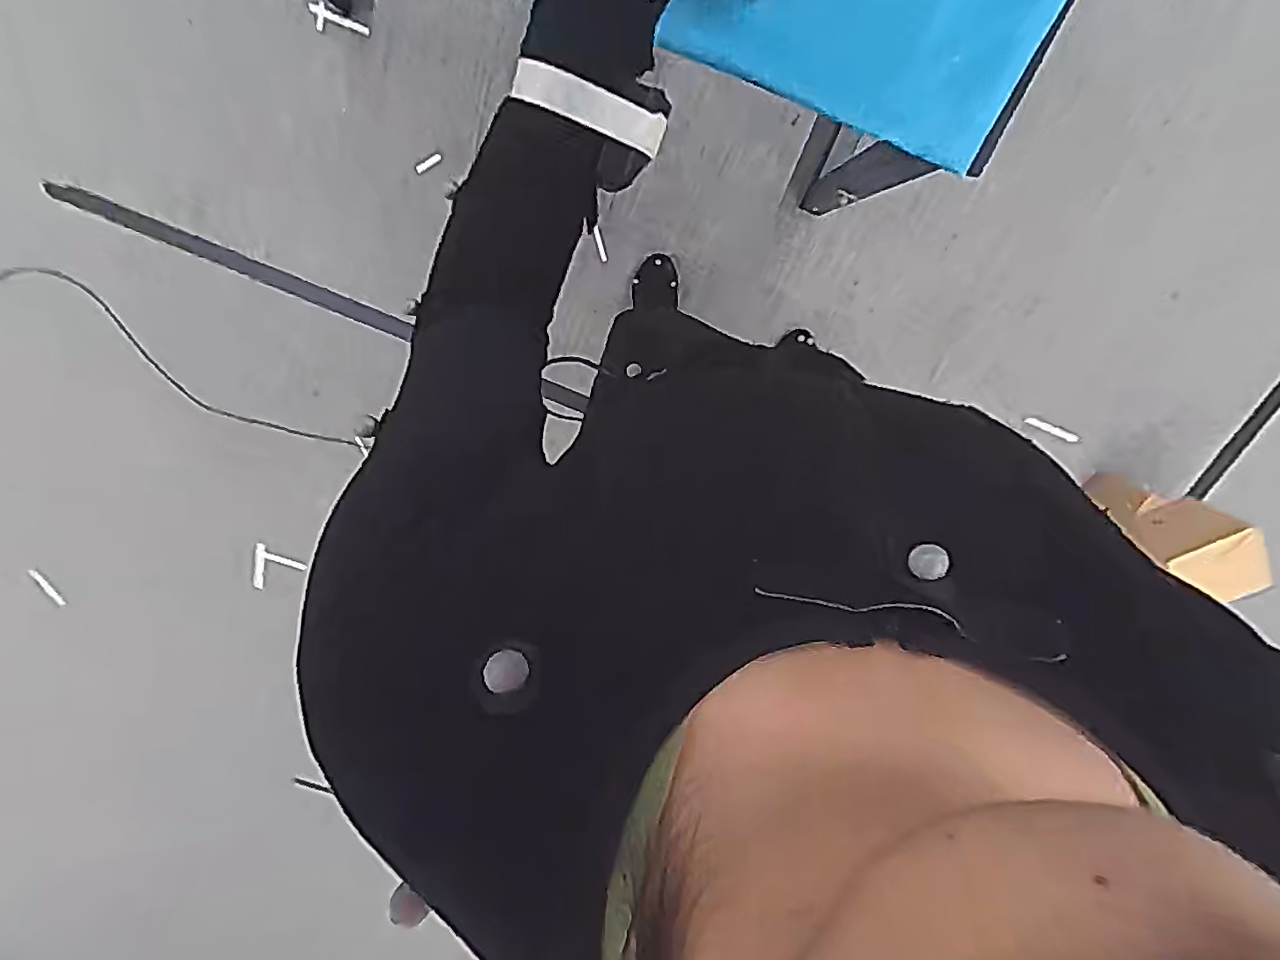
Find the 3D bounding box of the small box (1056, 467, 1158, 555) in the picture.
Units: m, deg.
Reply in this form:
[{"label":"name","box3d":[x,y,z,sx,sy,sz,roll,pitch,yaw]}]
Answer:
[{"label":"small box","box3d":[1.247,0.094,1.415,0.168,0.176,0.179,23,111,-6]}]

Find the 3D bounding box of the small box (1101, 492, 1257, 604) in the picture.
[{"label":"small box","box3d":[1.248,0.161,1.261,0.179,0.176,0.168,-29,108,14]}]
